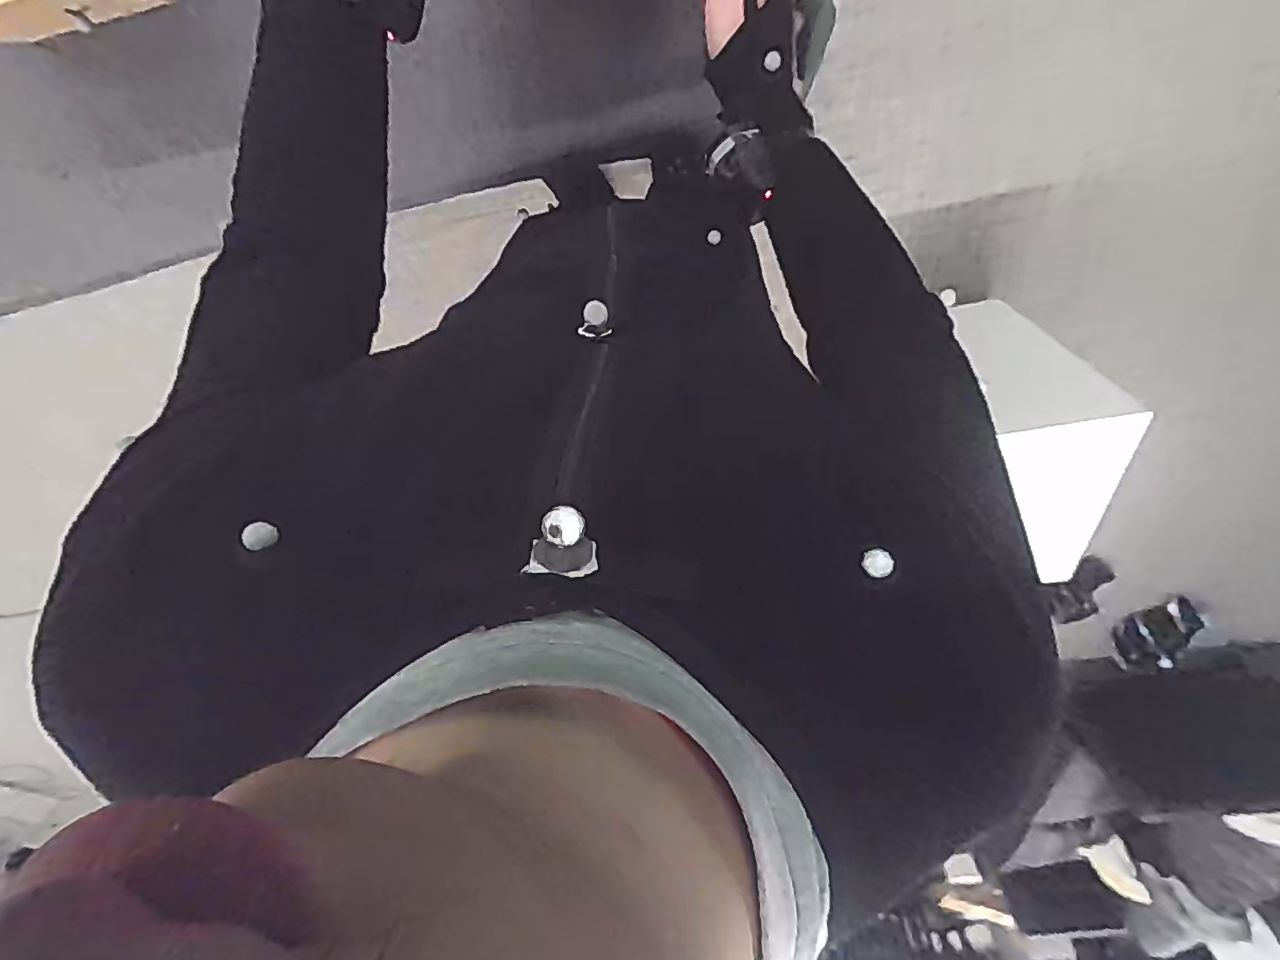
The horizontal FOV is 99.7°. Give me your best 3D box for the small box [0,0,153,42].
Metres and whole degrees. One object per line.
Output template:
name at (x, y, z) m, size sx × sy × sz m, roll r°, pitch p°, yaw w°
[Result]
small box at (-0.538, -0.458, 0.414) m, size 0.179 × 0.176 × 0.168 m, roll -9°, pitch 127°, yaw 6°
